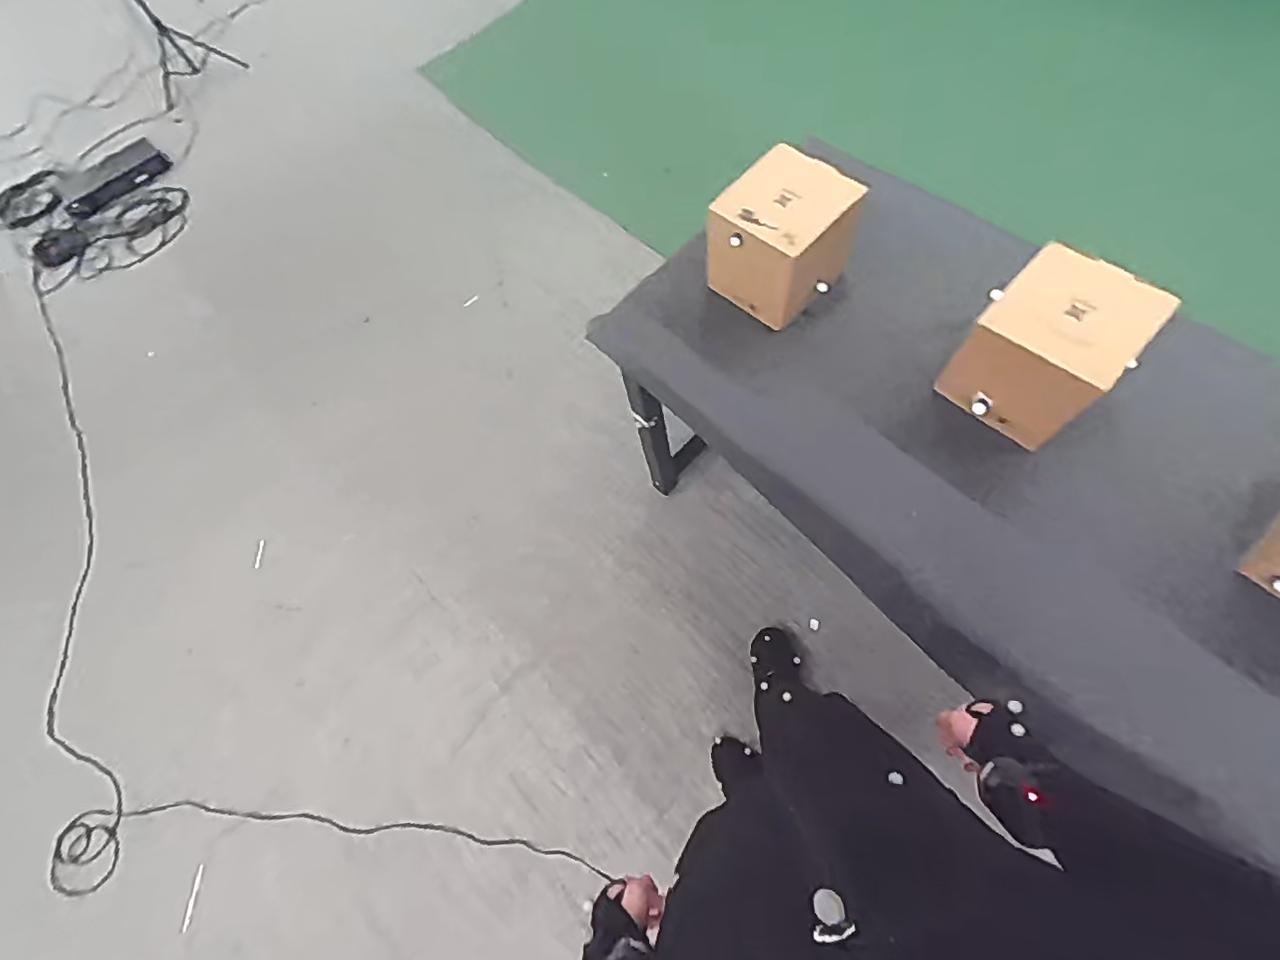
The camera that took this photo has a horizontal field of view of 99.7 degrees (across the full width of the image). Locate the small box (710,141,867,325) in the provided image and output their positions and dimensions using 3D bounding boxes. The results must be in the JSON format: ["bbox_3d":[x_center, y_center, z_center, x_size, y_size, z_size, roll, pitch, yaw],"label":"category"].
[{"bbox_3d":[0.226,-0.392,0.873,0.179,0.176,0.168,-44,69,-12],"label":"small box"}]

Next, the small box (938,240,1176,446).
[{"bbox_3d":[0.553,-0.182,0.748,0.168,0.176,0.179,41,79,21],"label":"small box"}]
